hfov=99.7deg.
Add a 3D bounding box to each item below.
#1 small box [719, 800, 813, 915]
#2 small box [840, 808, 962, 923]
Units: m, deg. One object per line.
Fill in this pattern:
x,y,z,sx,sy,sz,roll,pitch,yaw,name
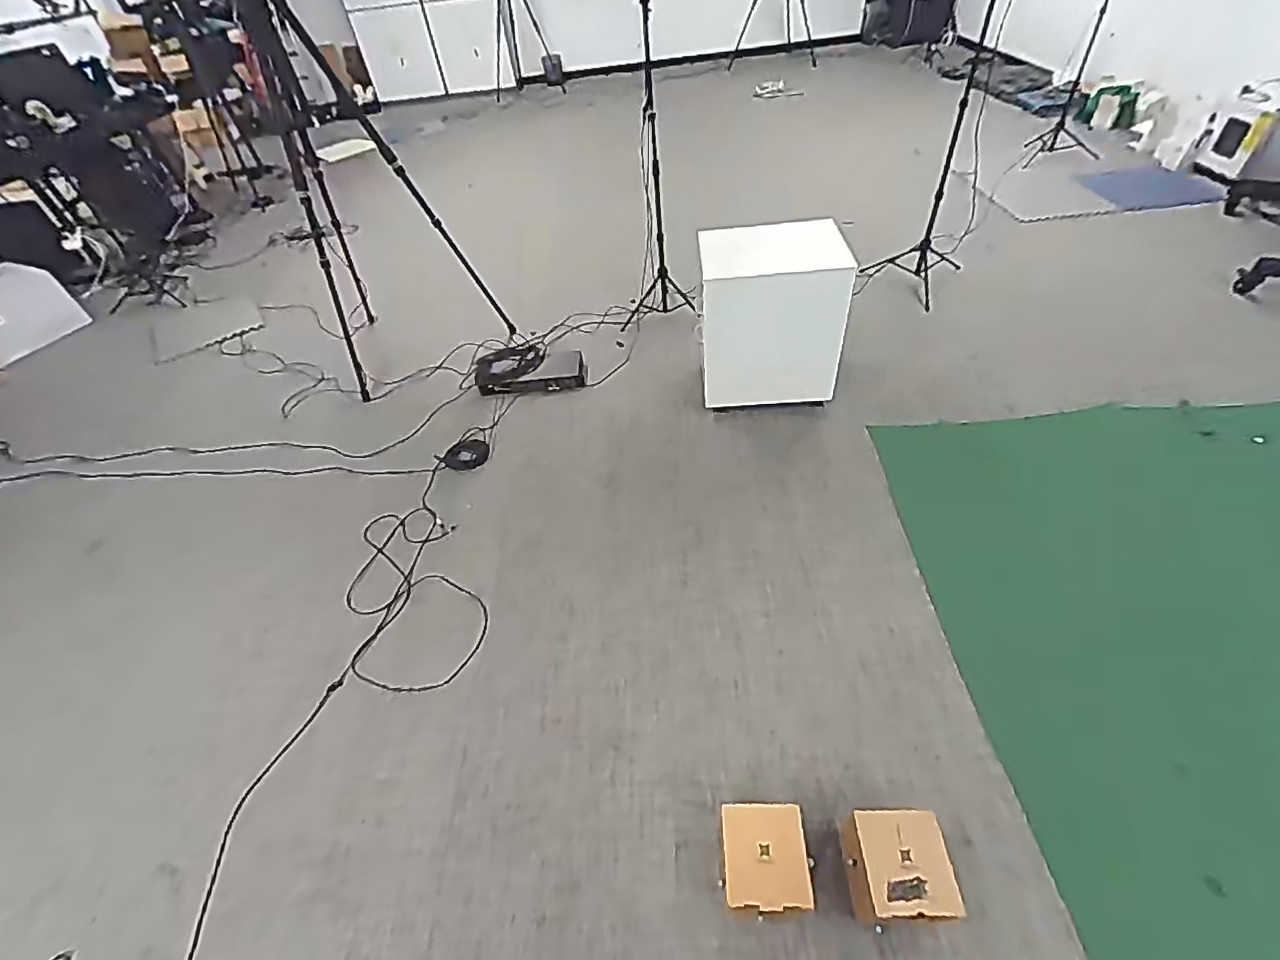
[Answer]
0.257,0.798,1.143,0.168,0.176,0.179,-2,47,5,small box
0.524,0.795,1.113,0.168,0.176,0.179,-3,46,5,small box
